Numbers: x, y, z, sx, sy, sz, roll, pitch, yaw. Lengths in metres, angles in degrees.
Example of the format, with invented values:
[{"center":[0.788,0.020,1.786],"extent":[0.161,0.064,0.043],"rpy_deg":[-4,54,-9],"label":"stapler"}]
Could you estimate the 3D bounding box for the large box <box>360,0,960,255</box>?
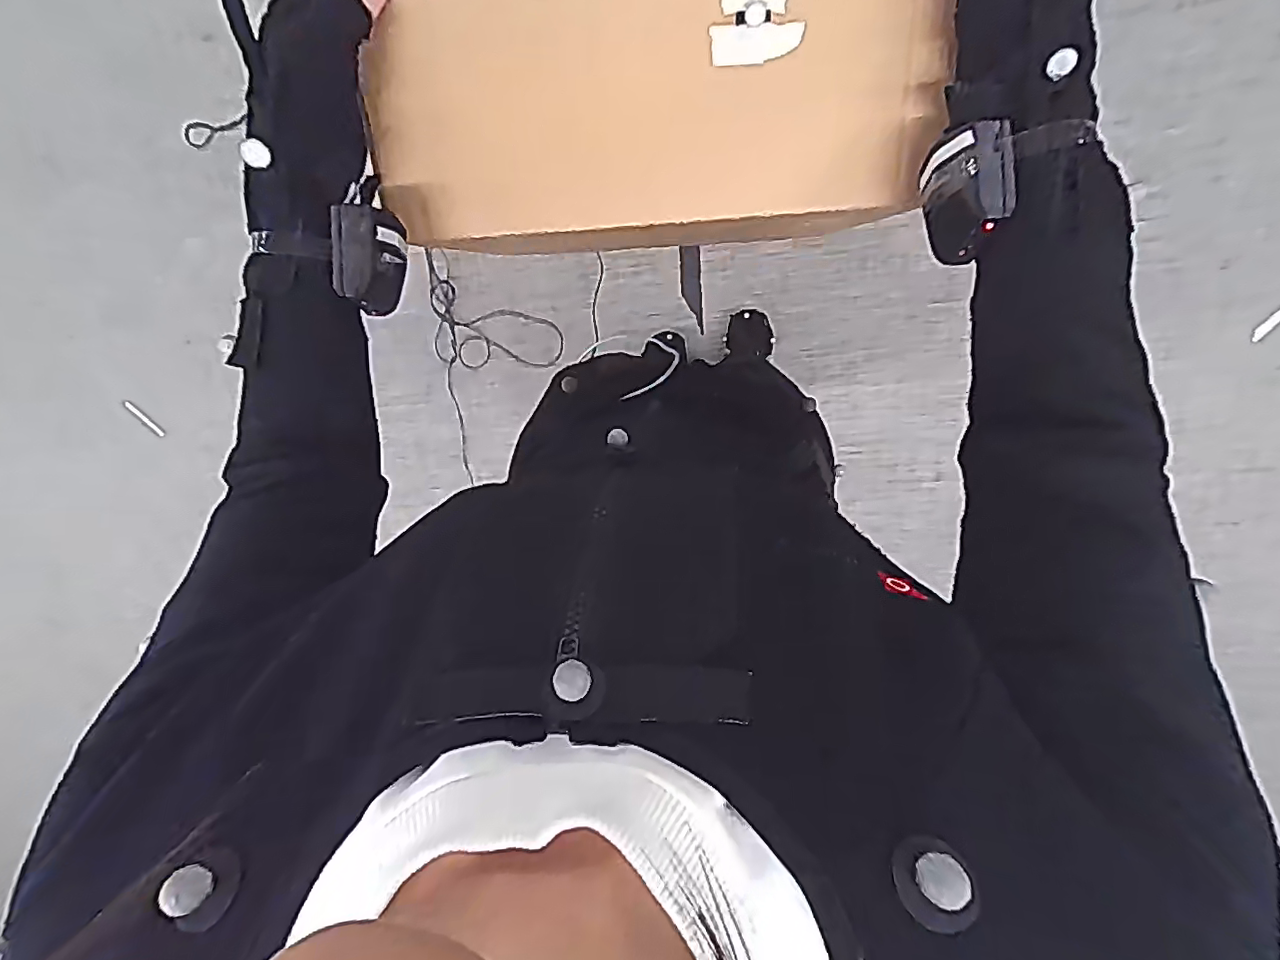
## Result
[{"center":[0.012,-0.393,0.488],"extent":[0.408,0.320,0.320],"rpy_deg":[-3,111,4],"label":"large box"}]
